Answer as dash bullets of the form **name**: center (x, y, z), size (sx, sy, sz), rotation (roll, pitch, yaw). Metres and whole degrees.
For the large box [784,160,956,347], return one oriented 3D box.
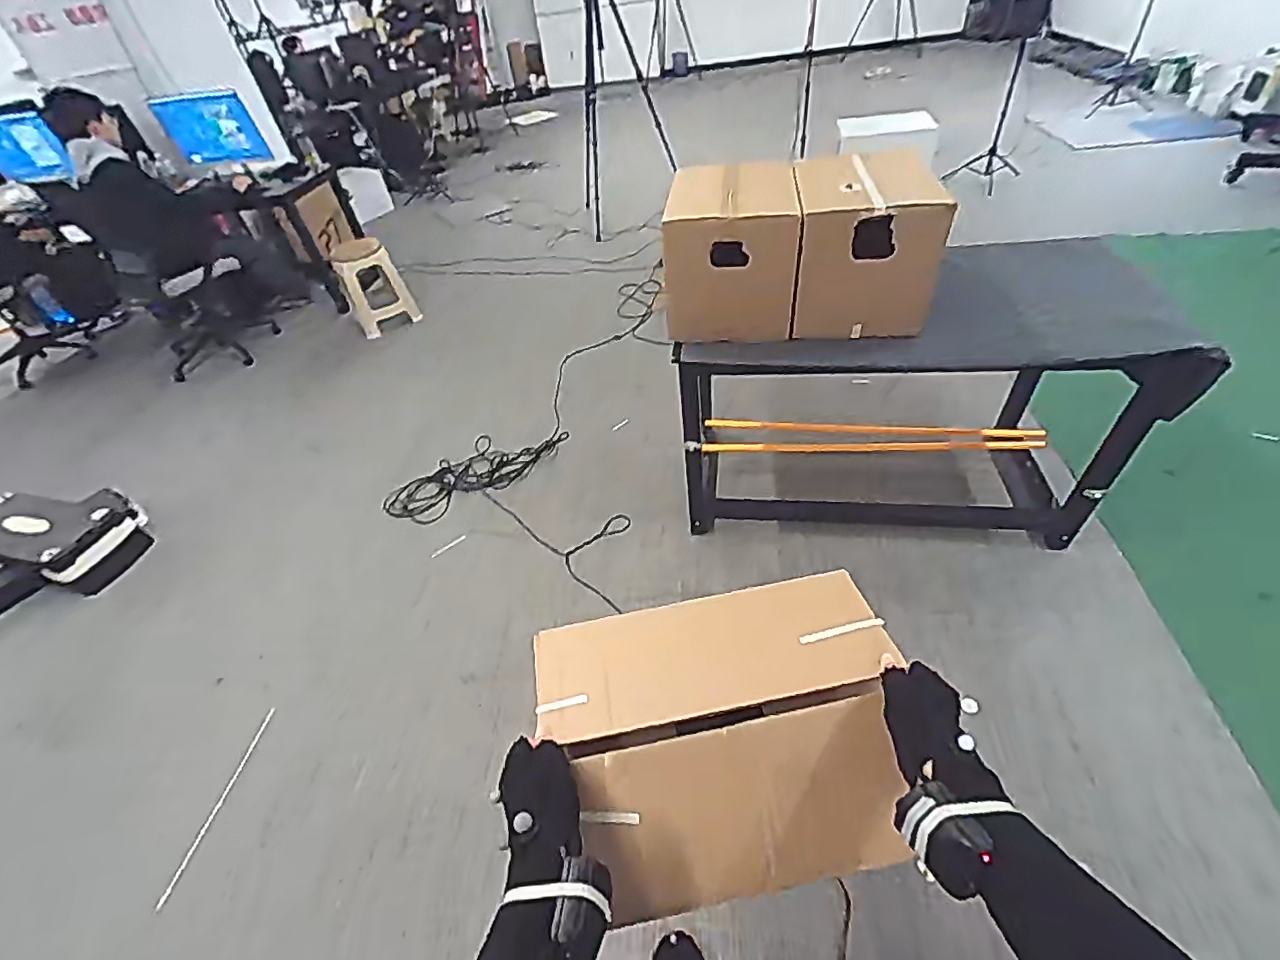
- **large box**: center (0.553, -0.589, 1.399), size (0.320, 0.320, 0.408), rotation (0, 45, 10)
